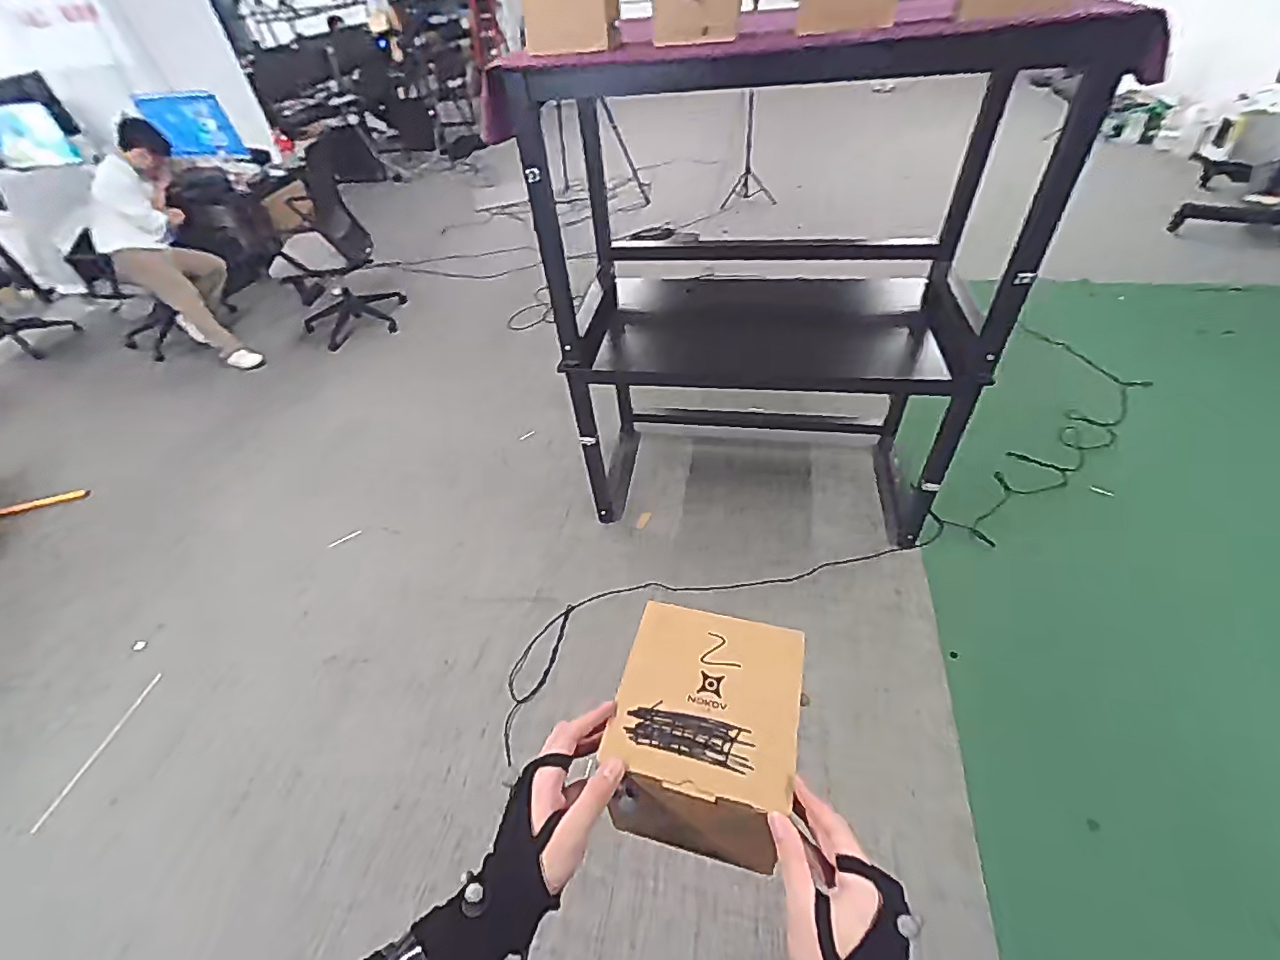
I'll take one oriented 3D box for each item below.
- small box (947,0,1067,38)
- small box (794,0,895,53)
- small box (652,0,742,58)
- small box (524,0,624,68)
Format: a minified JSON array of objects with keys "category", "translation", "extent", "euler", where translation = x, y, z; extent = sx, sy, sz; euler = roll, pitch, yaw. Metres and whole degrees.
[{"category":"small box","translation":[0.675,-0.920,0.976],"extent":[0.179,0.176,0.168],"euler":[7,47,14]},{"category":"small box","translation":[0.395,-0.944,1.037],"extent":[0.179,0.176,0.168],"euler":[4,44,12]},{"category":"small box","translation":[0.118,-0.965,1.089],"extent":[0.168,0.176,0.179],"euler":[4,44,10]},{"category":"small box","translation":[-0.138,-0.984,1.137],"extent":[0.179,0.176,0.168],"euler":[4,45,10]}]
